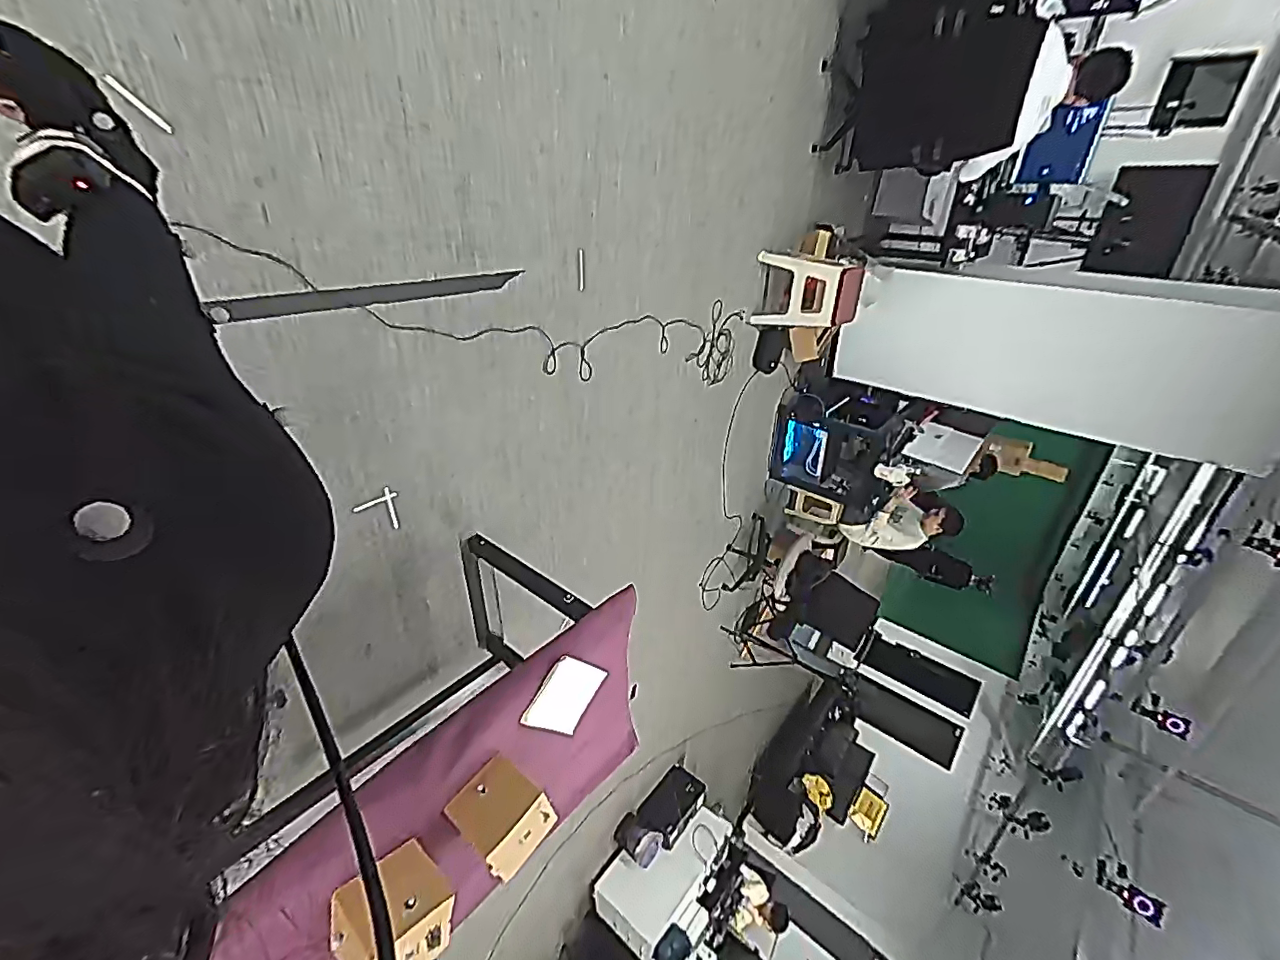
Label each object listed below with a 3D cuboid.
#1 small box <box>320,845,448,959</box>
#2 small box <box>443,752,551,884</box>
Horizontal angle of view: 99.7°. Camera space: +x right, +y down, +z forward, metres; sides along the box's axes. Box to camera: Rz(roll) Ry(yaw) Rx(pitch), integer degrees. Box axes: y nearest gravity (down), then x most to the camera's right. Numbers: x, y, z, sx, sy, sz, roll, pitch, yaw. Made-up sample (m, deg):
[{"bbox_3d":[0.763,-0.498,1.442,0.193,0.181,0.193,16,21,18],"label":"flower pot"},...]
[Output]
[{"bbox_3d":[-0.523,0.905,1.105,0.179,0.176,0.168,-11,119,-51],"label":"small box"},{"bbox_3d":[-0.345,0.804,1.296,0.179,0.176,0.168,-39,138,-34],"label":"small box"}]
